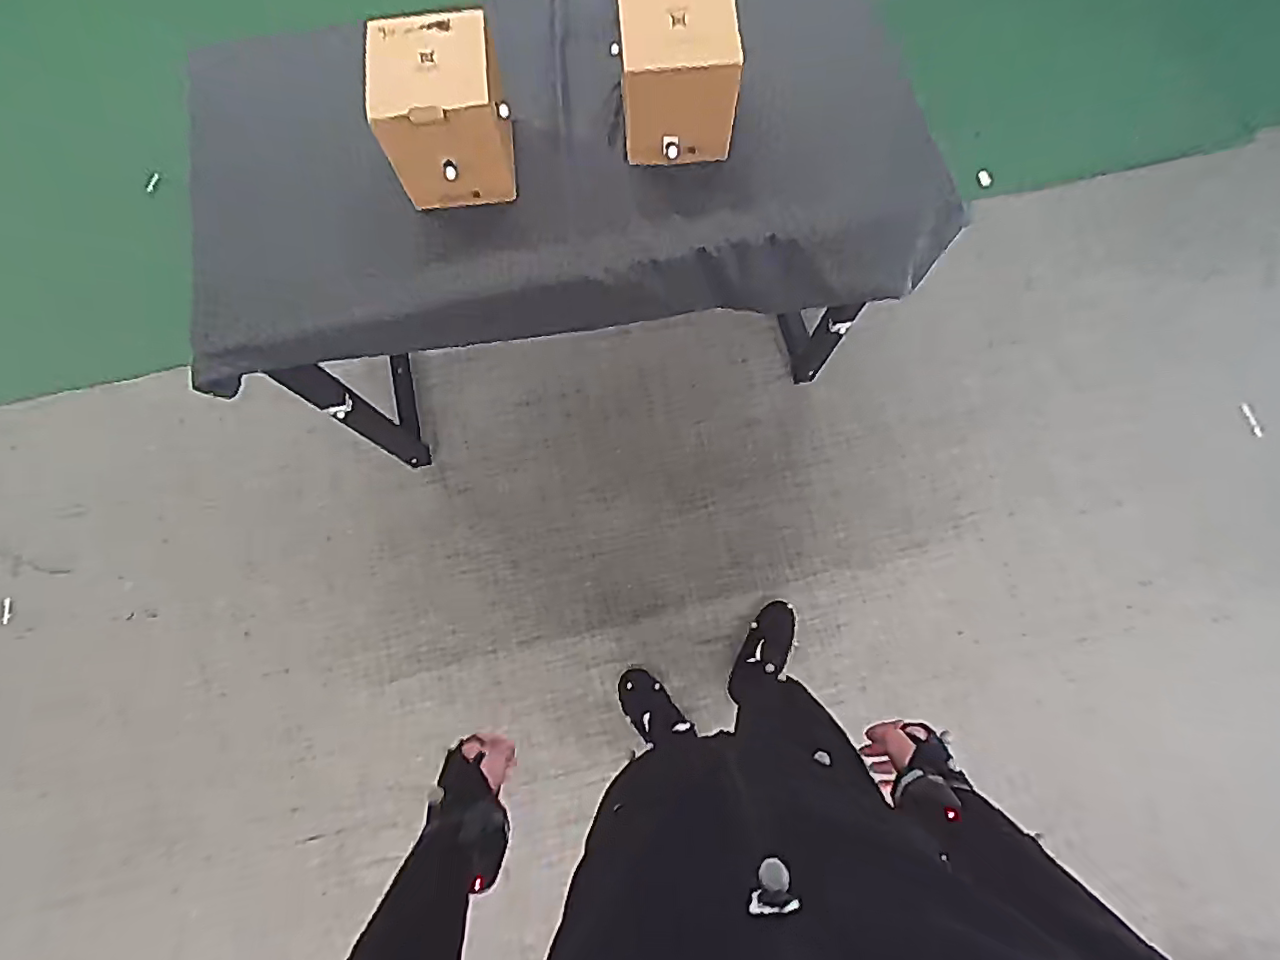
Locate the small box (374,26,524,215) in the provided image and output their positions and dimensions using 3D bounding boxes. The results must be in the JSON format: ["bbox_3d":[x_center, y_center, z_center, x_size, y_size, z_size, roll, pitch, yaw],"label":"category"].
[{"bbox_3d":[-0.284,-0.535,0.832,0.168,0.176,0.179,-10,75,0],"label":"small box"}]

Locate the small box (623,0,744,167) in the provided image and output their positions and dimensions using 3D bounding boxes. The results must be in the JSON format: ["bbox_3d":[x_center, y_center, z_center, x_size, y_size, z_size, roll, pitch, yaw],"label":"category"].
[{"bbox_3d":[0.060,-0.618,0.828,0.168,0.176,0.179,-3,75,2],"label":"small box"}]
